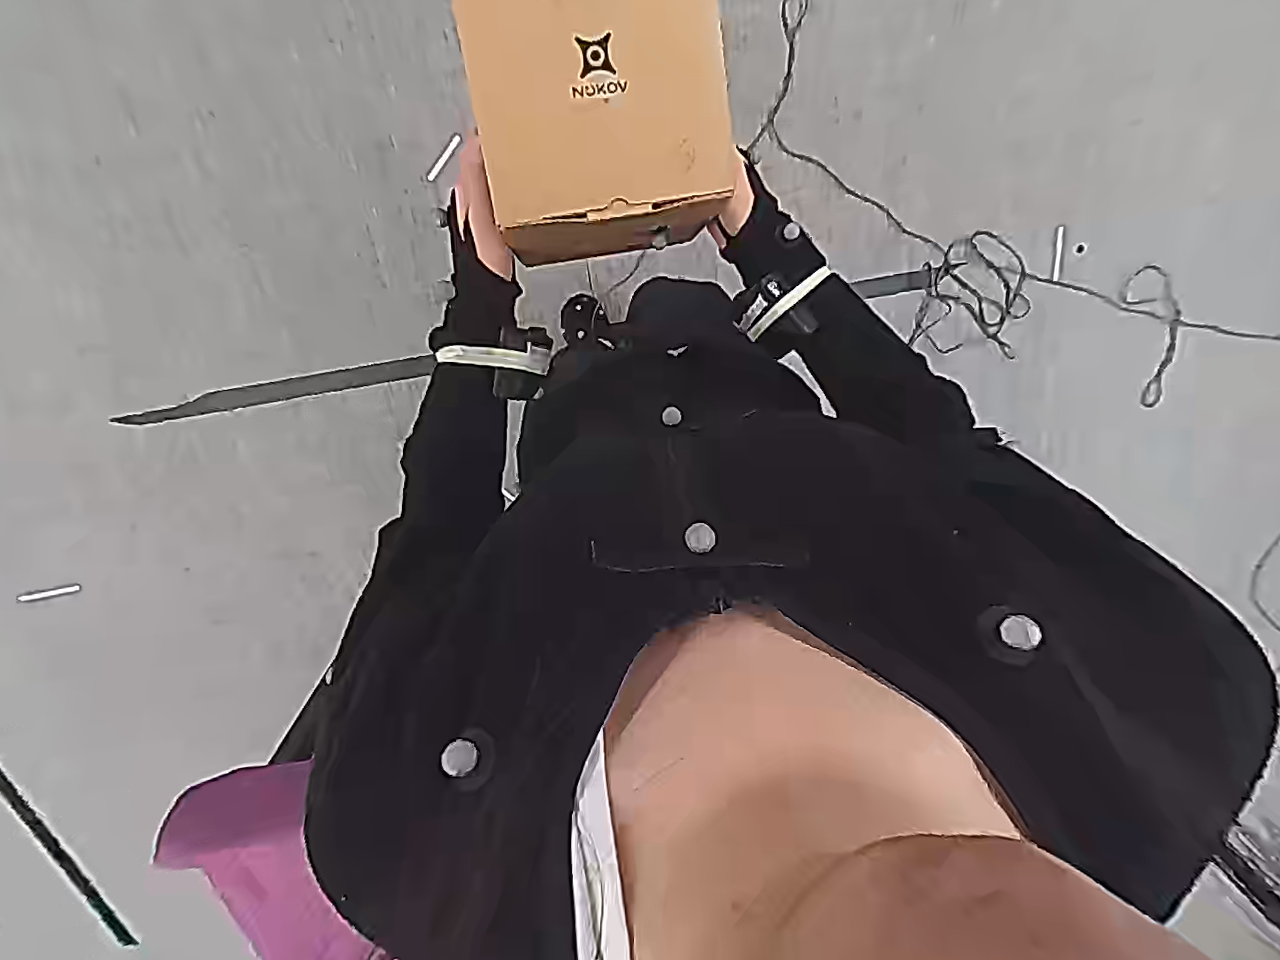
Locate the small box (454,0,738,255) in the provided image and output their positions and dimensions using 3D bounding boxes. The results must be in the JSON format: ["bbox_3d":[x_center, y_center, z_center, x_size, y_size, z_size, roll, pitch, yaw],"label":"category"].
[{"bbox_3d":[-0.034,-0.282,0.417,0.168,0.176,0.179,-11,103,-4],"label":"small box"}]
